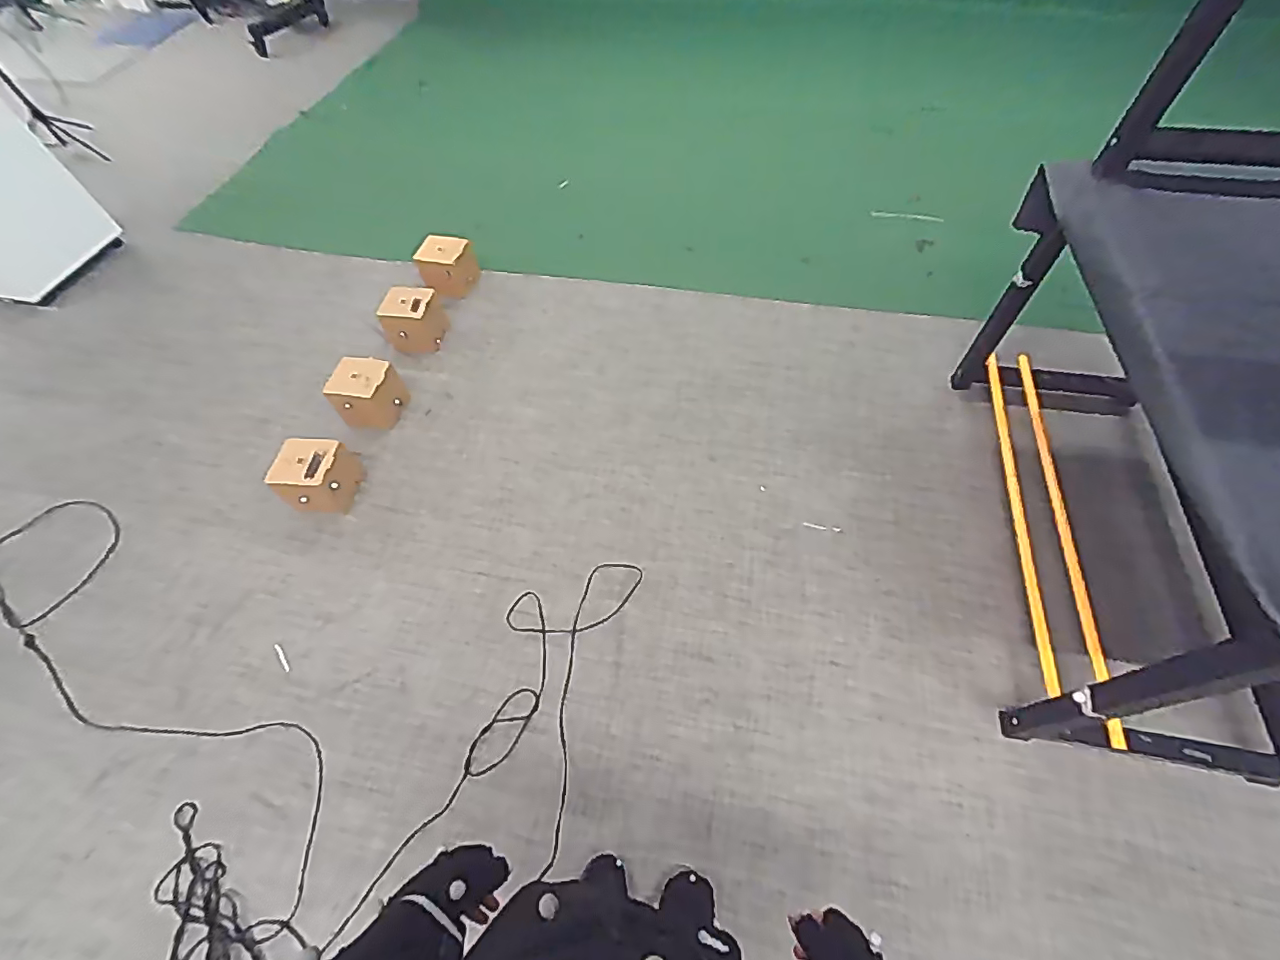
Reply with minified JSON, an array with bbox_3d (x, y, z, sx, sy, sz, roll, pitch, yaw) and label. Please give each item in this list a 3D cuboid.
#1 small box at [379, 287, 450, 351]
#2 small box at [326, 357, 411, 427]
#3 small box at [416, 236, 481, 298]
[{"bbox_3d":[-0.849,-0.608,2.056,0.179,0.176,0.168,5,57,6],"label":"small box"},{"bbox_3d":[-0.925,-0.299,1.857,0.179,0.176,0.168,8,59,6],"label":"small box"},{"bbox_3d":[-0.783,-0.875,2.228,0.179,0.176,0.168,10,59,8],"label":"small box"}]
